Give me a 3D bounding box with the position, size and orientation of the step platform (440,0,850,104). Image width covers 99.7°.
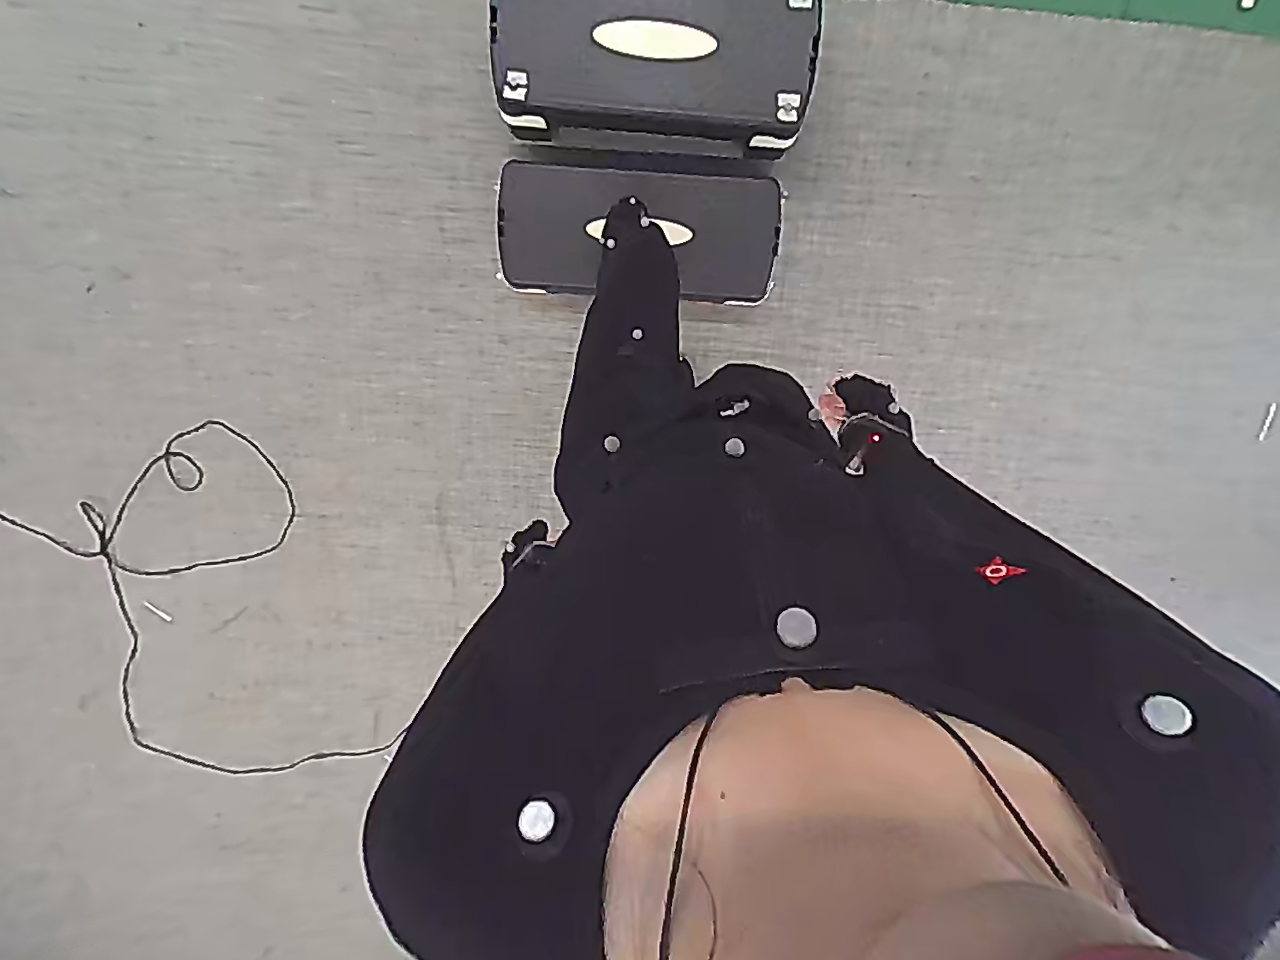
[{"bbox_3d":[0.010,-0.869,0.955,0.684,0.204,0.286,3,106,-1],"label":"step platform"}]
